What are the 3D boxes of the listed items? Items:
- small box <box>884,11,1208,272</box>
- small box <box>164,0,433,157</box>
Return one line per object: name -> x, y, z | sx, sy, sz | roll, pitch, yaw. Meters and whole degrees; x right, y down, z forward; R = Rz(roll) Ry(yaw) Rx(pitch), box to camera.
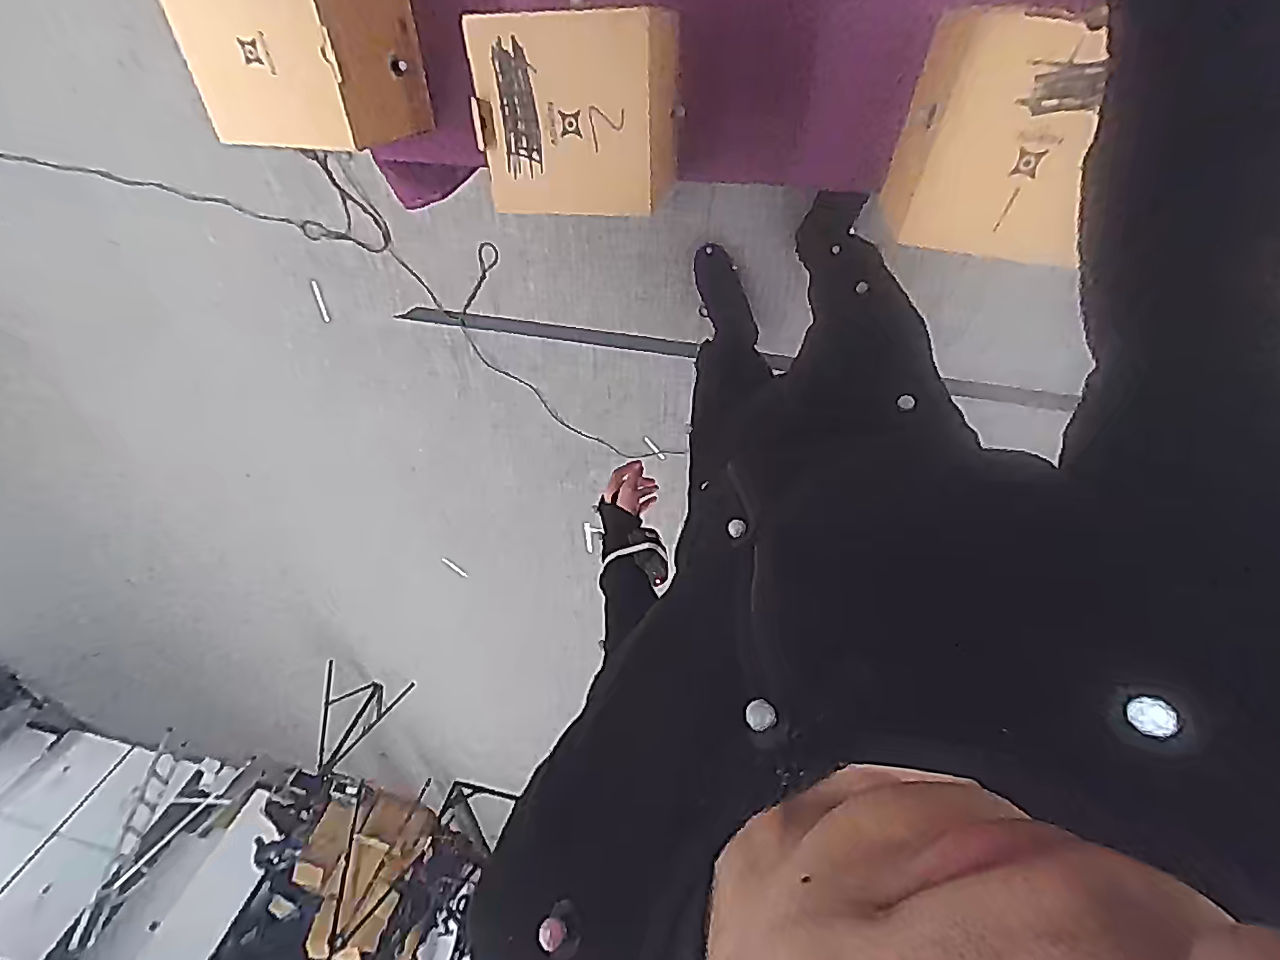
small box -> 0.350, -0.326, 0.519 | 0.168, 0.176, 0.179 | 12, 132, 7
small box -> -0.367, -0.473, 0.606 | 0.179, 0.176, 0.168 | 7, 130, 9
